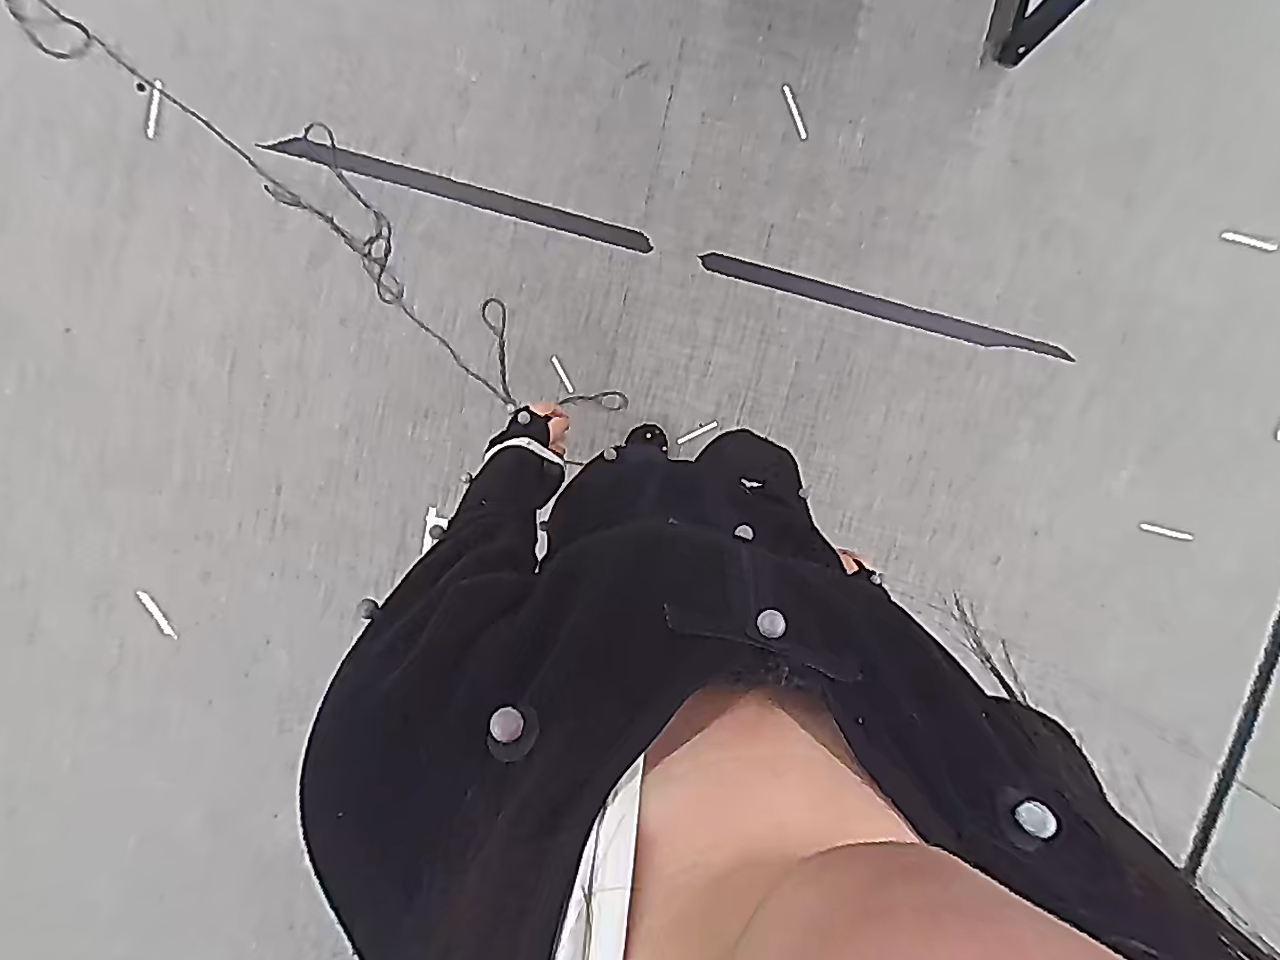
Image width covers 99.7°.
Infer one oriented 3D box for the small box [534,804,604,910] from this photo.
[{"bbox_3d":[-0.191,1.036,1.499,0.168,0.176,0.179,7,95,-2],"label":"small box"}]
